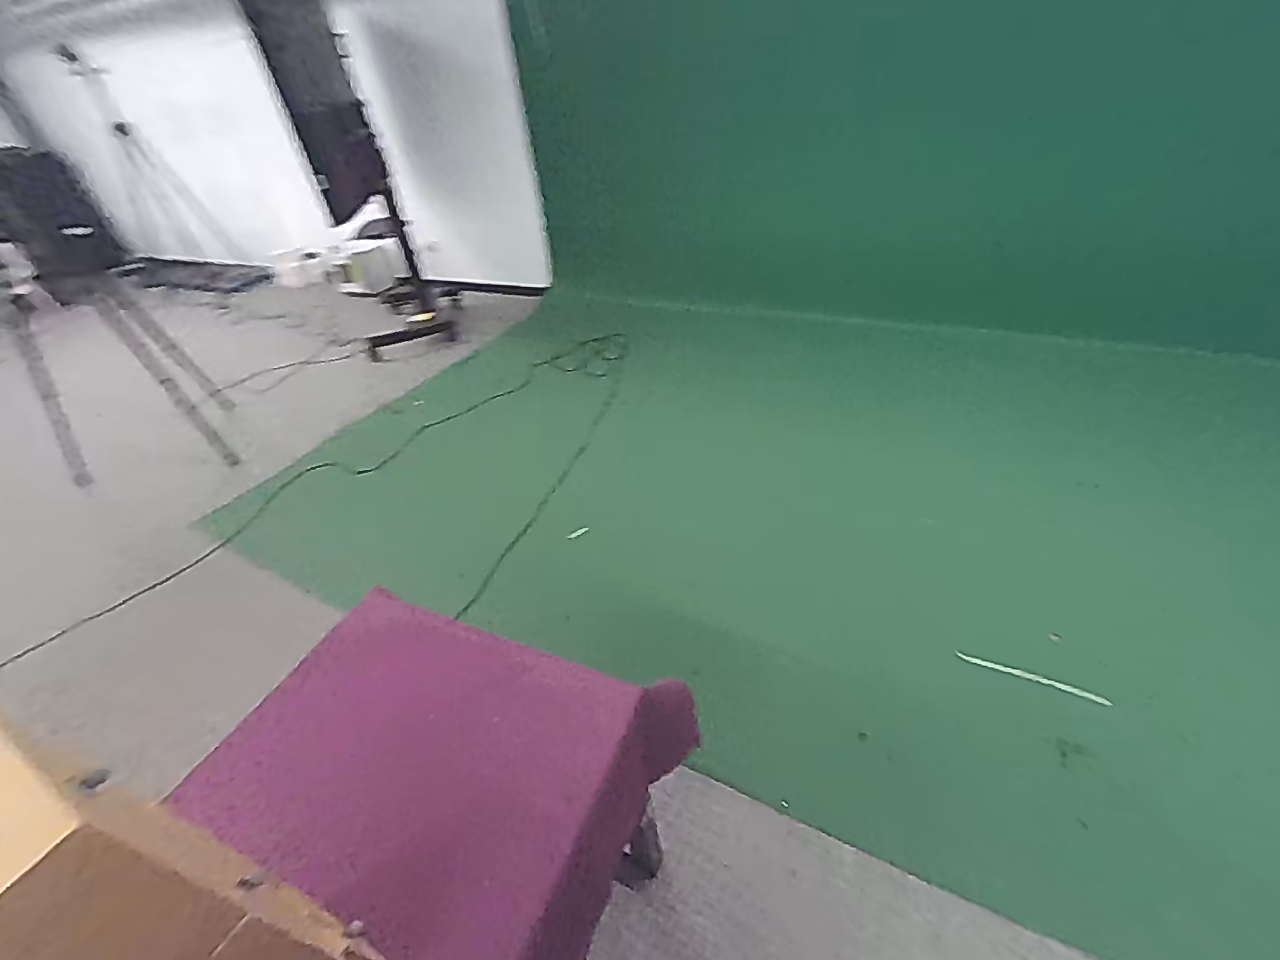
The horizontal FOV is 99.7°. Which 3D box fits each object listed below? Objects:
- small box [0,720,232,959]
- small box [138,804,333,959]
[{"bbox_3d":[-0.411,0.284,0.333,0.179,0.176,0.168,14,42,26],"label":"small box"},{"bbox_3d":[-0.394,0.412,0.436,0.179,0.176,0.168,16,43,26],"label":"small box"}]
